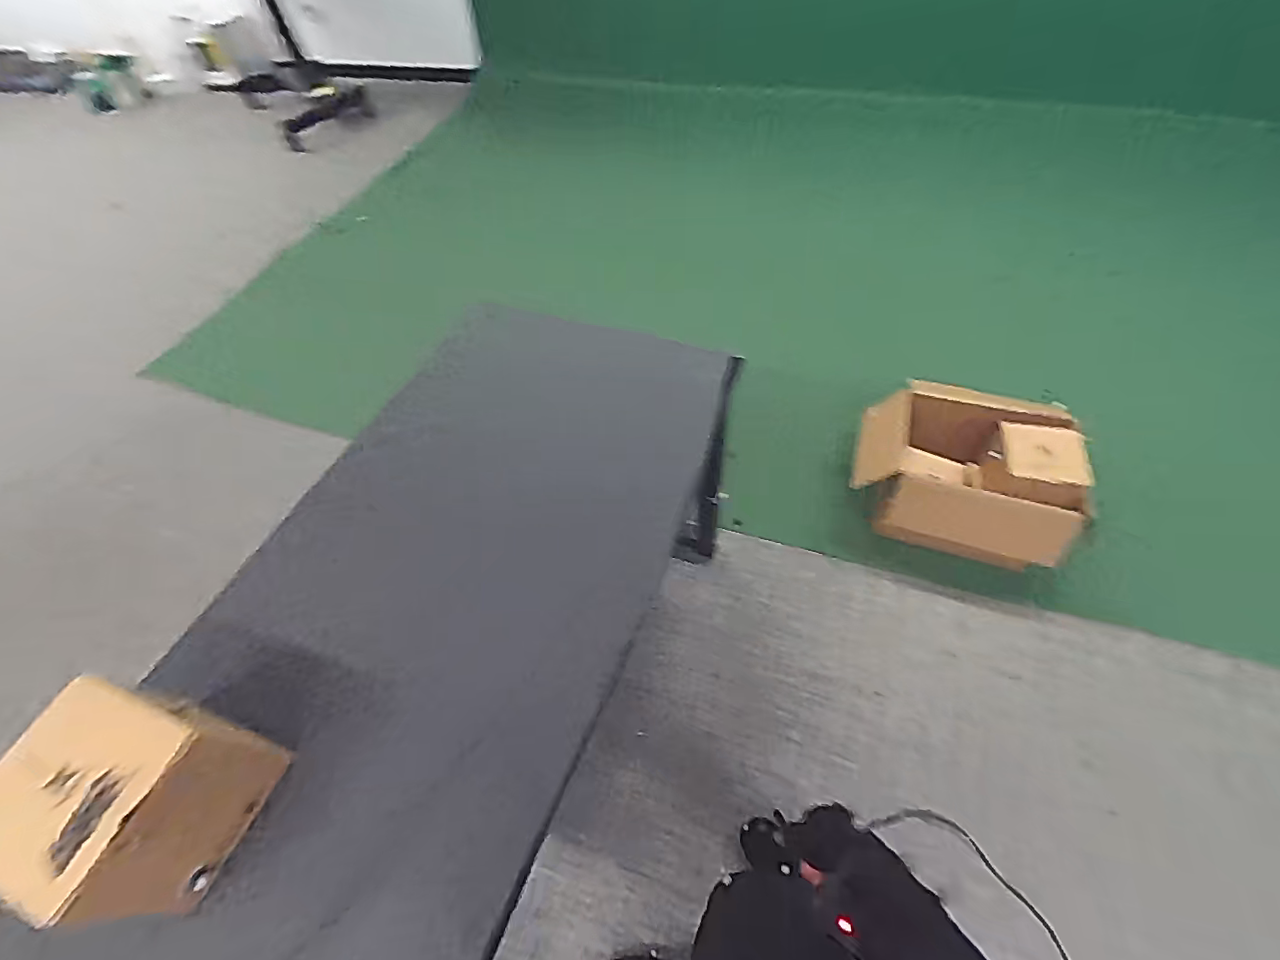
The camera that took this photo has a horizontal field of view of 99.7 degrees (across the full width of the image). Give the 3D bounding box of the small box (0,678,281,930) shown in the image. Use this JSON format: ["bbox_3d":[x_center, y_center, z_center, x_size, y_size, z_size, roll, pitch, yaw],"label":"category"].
[{"bbox_3d":[-0.546,0.340,0.583,0.179,0.176,0.168,15,58,15],"label":"small box"}]
